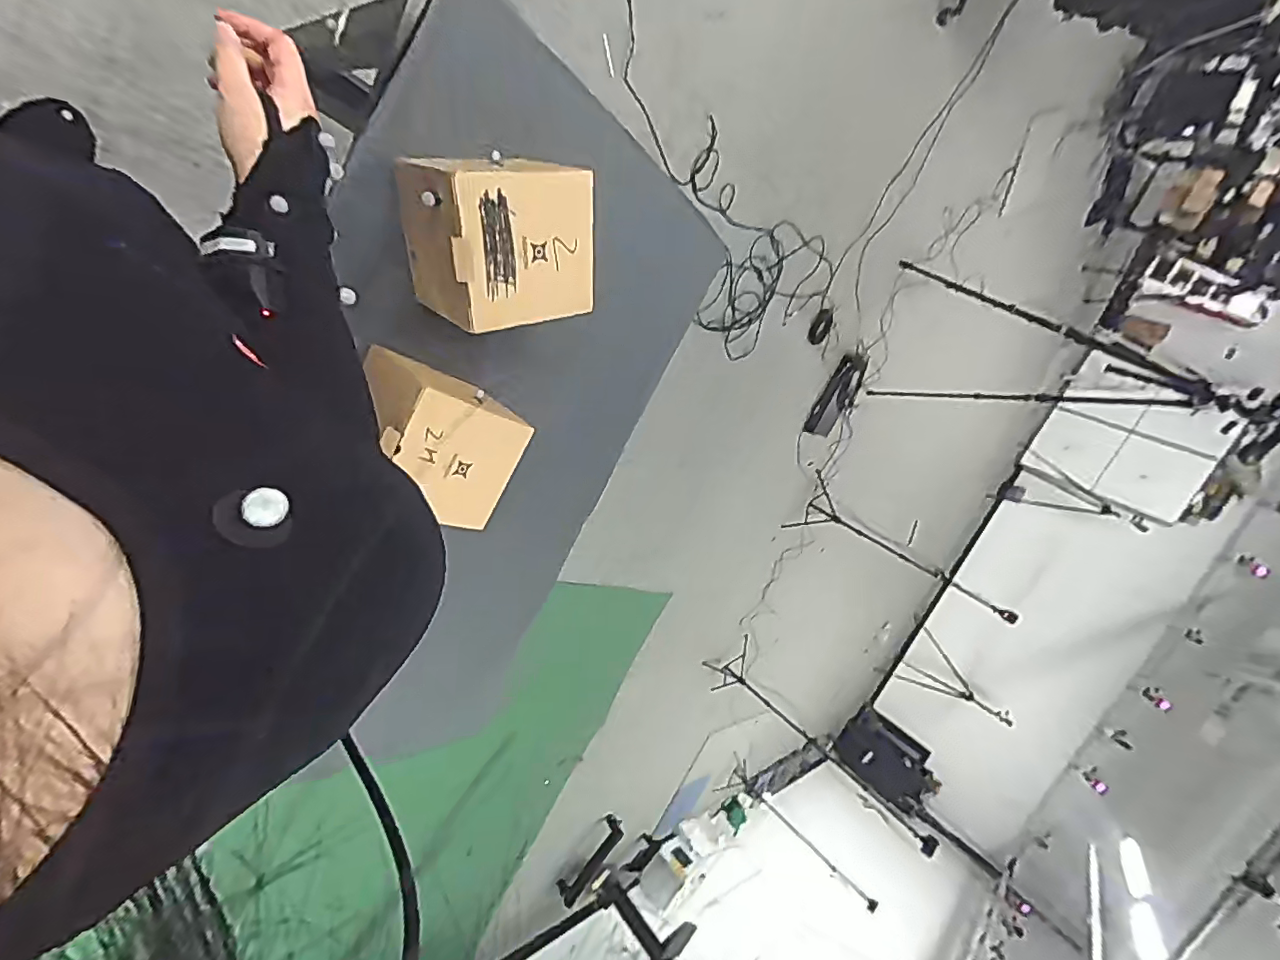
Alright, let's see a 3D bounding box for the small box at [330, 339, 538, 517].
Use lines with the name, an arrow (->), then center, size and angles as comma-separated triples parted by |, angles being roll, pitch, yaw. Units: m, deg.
small box -> -0.280, -0.071, 0.733 | 0.179, 0.176, 0.168 | 20, 101, -51
